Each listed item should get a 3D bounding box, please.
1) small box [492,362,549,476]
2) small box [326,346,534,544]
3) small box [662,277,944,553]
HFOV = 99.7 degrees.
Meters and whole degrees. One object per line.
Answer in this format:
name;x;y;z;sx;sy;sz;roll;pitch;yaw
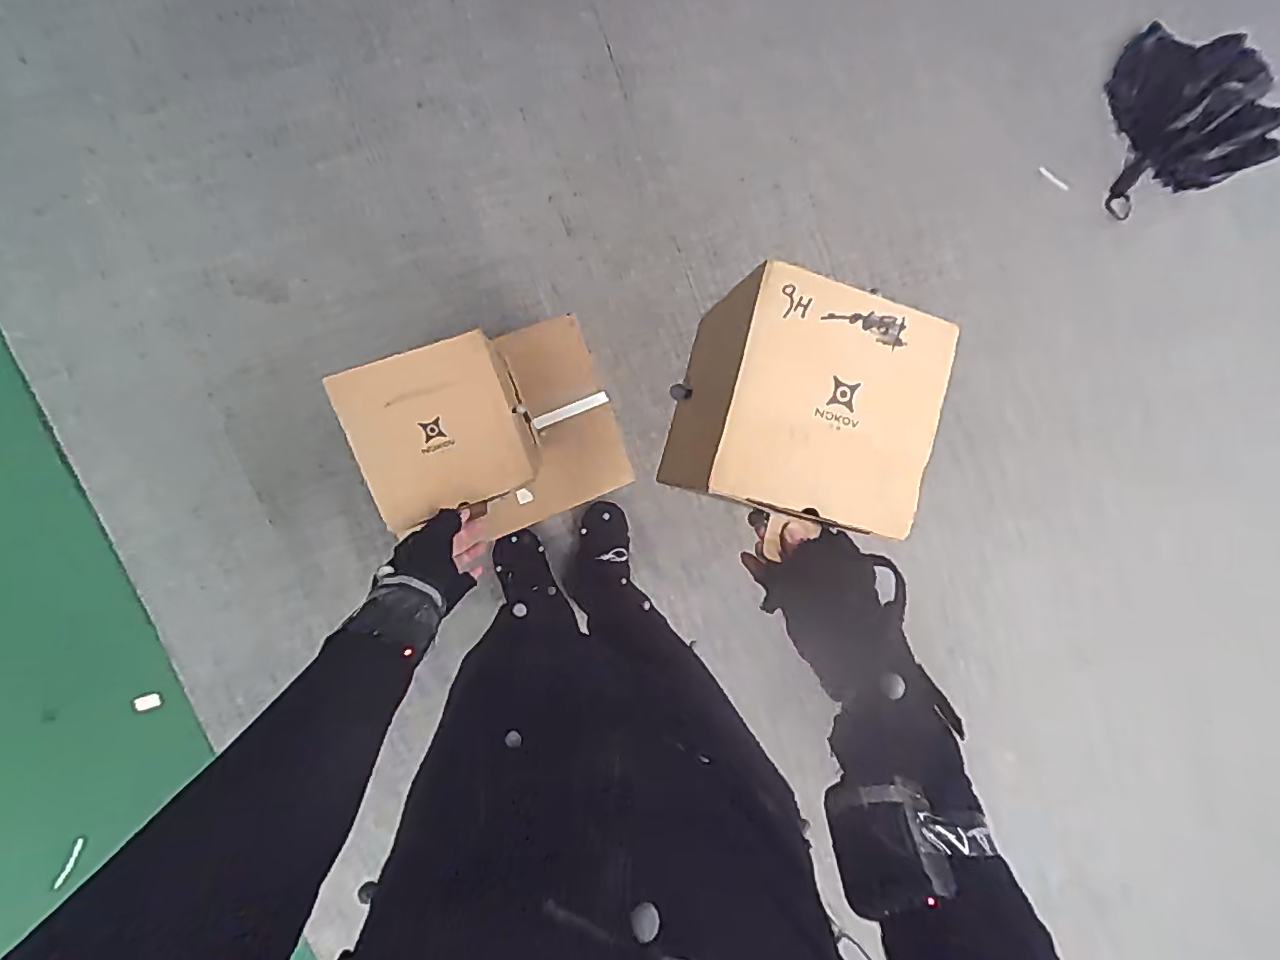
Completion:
small box;-0.251;-0.068;0.815;0.179;0.176;0.168;-24;102;-6
small box;-0.233;-0.048;0.655;0.168;0.176;0.179;-21;101;-7
small box;0.127;-0.049;0.488;0.168;0.176;0.179;15;89;-10
